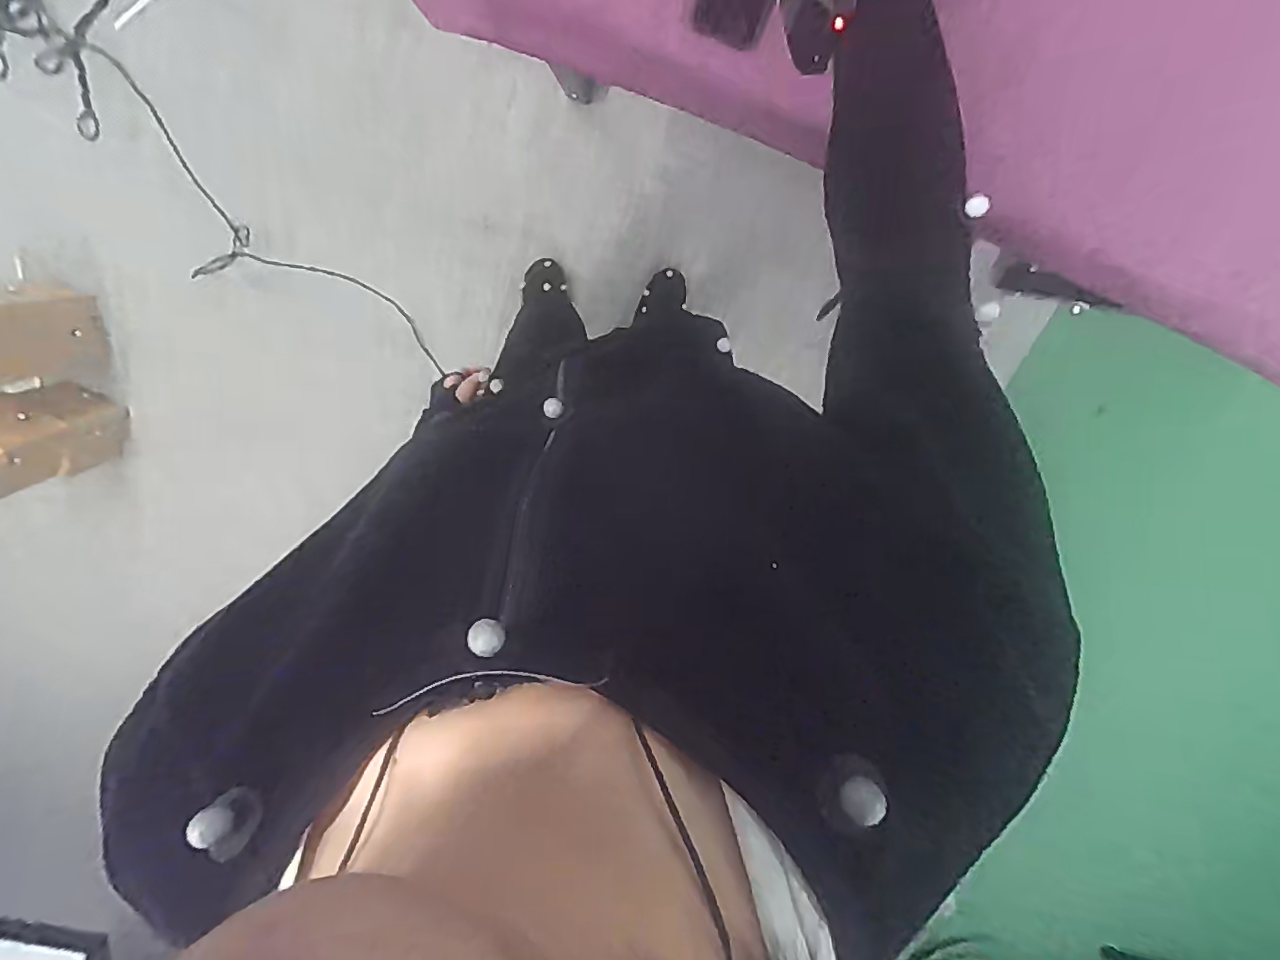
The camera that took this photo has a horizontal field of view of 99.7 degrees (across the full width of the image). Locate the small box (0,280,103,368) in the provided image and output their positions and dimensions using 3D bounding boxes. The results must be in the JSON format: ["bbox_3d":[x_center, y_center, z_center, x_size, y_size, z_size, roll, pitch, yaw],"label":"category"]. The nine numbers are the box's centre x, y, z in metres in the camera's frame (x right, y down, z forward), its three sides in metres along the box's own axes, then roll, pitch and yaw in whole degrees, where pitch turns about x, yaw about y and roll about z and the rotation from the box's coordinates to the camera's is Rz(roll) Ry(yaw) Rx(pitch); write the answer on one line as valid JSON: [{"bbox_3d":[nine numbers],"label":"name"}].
[{"bbox_3d":[-1.493,-0.391,1.338,0.179,0.176,0.168,11,114,-4],"label":"small box"}]

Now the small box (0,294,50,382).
[{"bbox_3d":[-1.485,-0.313,1.195,0.168,0.176,0.179,7,115,-3],"label":"small box"}]

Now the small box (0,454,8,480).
[{"bbox_3d":[-1.551,-0.013,1.156,0.179,0.176,0.168,39,109,-16],"label":"small box"}]

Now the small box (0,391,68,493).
[{"bbox_3d":[-1.555,-0.086,1.304,0.168,0.176,0.179,34,110,-13],"label":"small box"}]
